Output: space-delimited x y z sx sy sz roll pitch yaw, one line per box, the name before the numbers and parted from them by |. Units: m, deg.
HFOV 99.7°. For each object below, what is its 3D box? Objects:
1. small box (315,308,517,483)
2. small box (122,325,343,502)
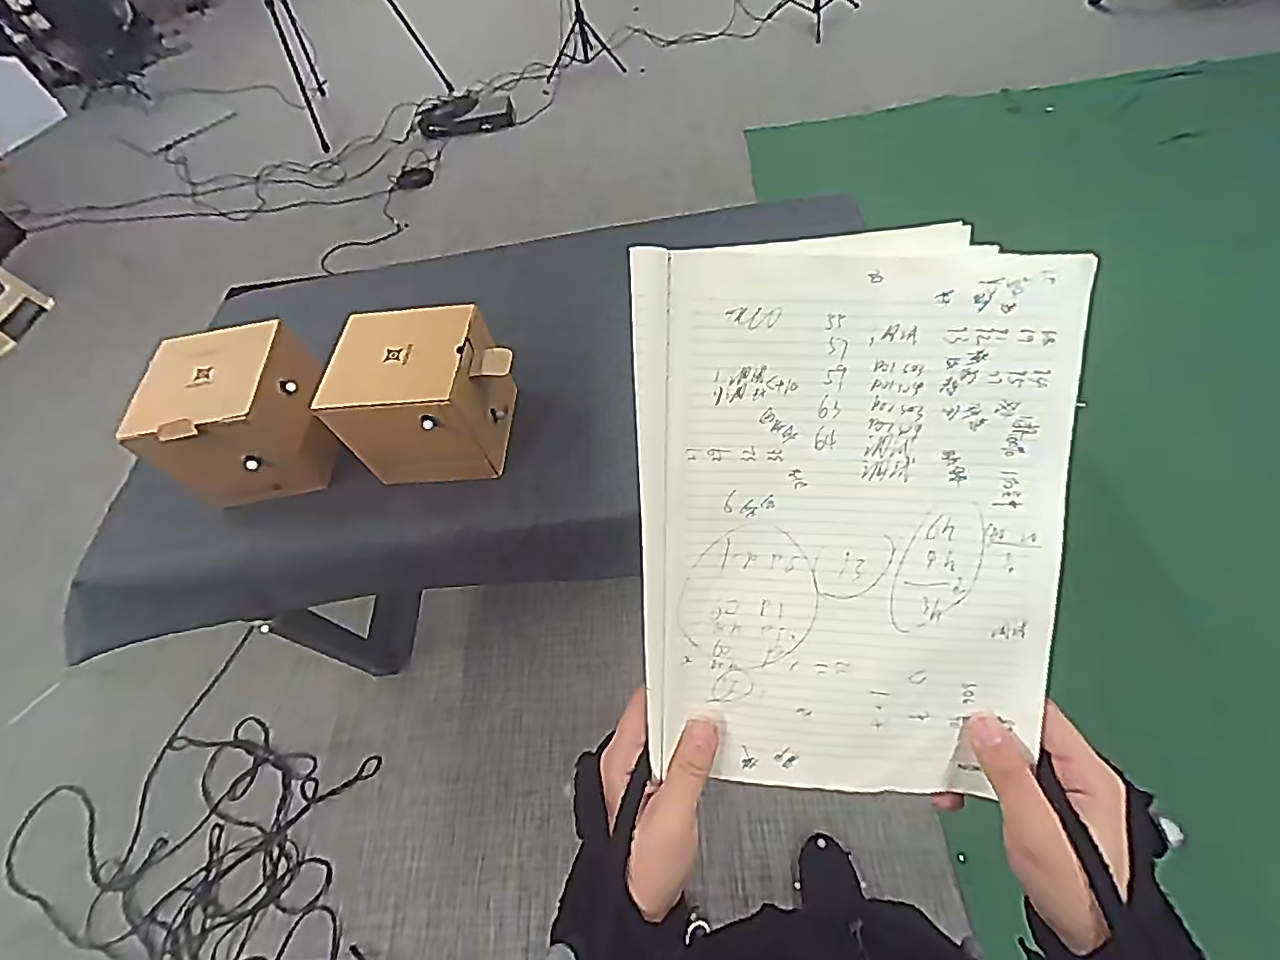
small box | -0.285 -0.106 0.733 0.179 0.176 0.168 -3 57 6
small box | -0.543 -0.084 0.757 0.168 0.176 0.179 -10 55 1
